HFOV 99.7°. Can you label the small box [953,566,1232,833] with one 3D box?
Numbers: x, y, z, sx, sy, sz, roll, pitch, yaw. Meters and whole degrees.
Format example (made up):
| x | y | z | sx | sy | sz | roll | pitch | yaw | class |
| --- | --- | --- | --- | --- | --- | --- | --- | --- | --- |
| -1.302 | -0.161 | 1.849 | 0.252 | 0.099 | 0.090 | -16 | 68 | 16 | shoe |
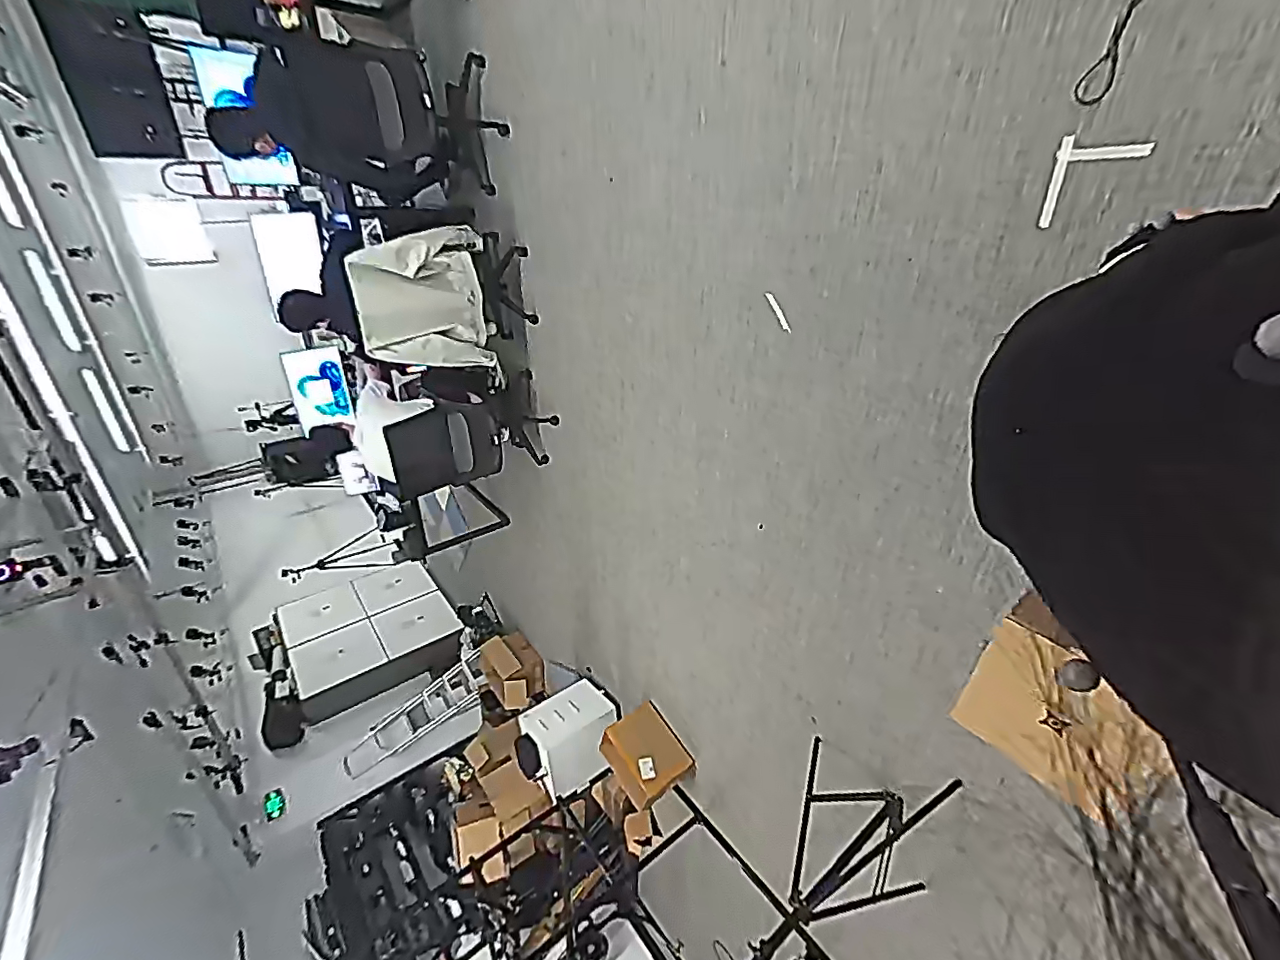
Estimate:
| x | y | z | sx | sy | sz | roll | pitch | yaw | class |
| --- | --- | --- | --- | --- | --- | --- | --- | --- | --- |
| 0.489 | 0.224 | 0.593 | 0.168 | 0.176 | 0.179 | 35 | 135 | 42 | small box |
